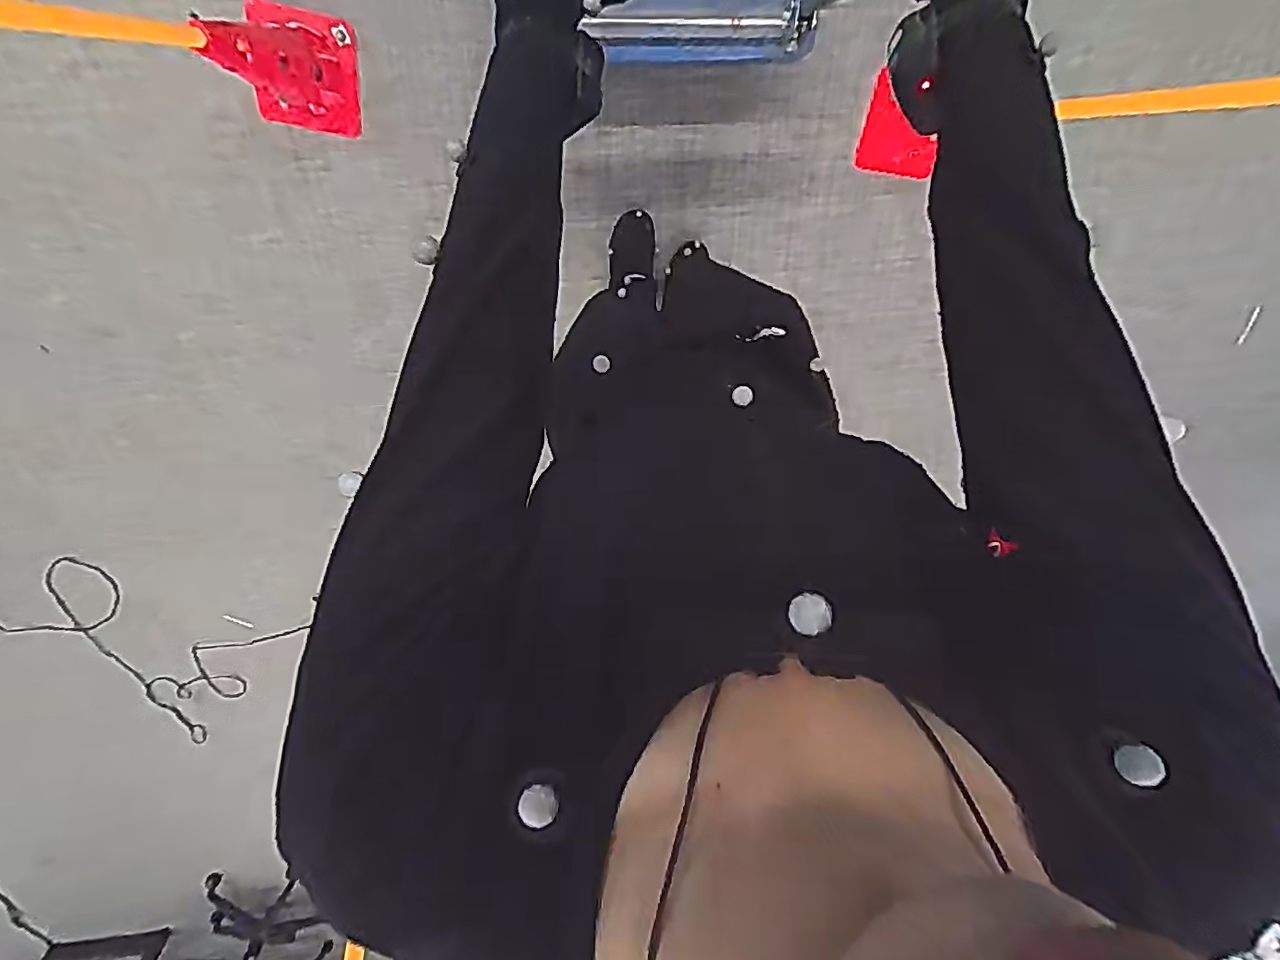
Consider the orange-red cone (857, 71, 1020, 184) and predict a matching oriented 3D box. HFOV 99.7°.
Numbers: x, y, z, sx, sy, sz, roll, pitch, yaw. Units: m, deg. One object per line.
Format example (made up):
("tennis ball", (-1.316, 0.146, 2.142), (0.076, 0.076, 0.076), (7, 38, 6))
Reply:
("orange-red cone", (0.625, -0.710, 1.082), (0.198, 0.360, 0.199), (6, 120, -8))
